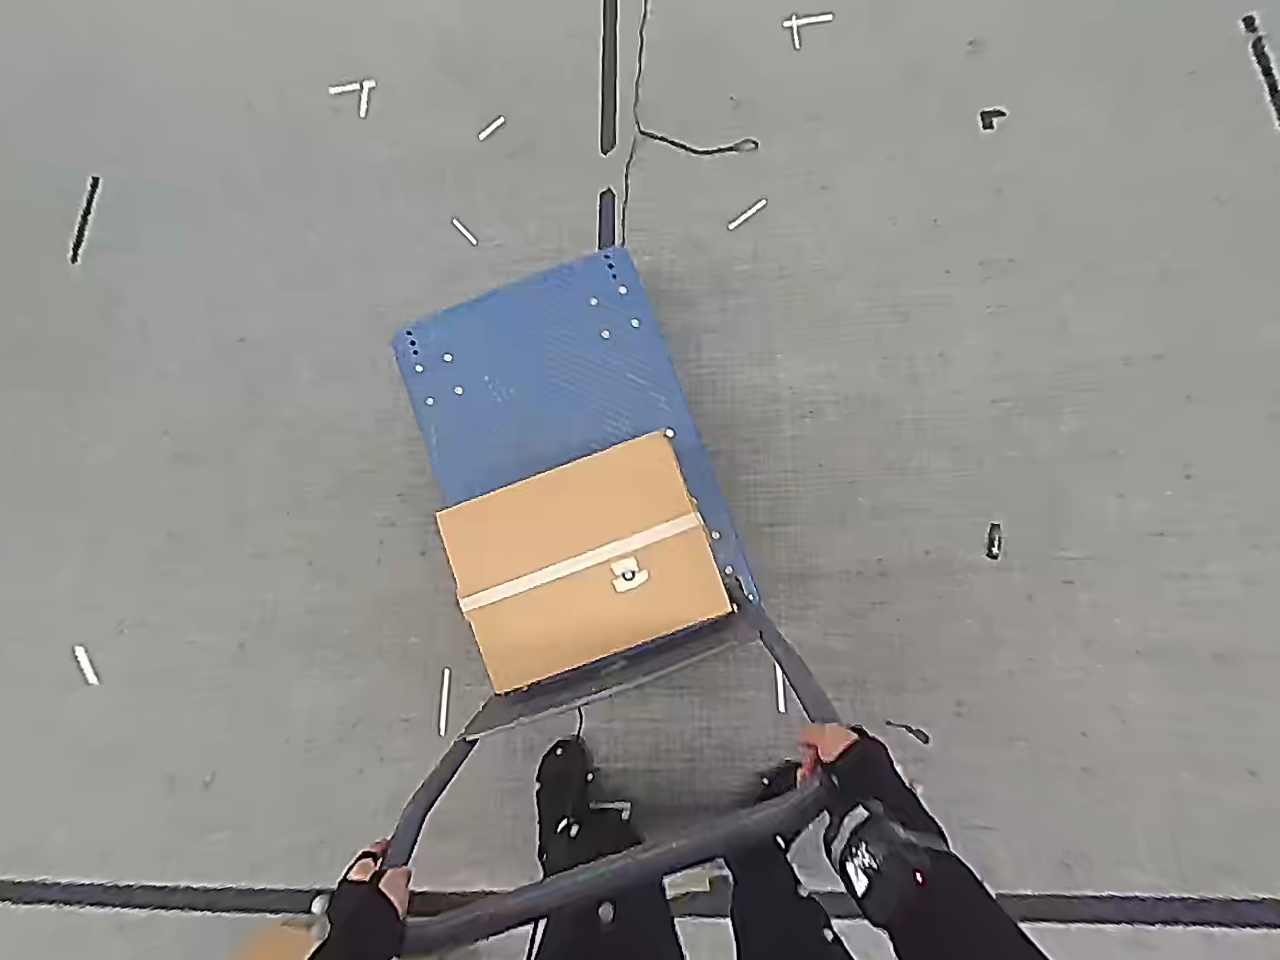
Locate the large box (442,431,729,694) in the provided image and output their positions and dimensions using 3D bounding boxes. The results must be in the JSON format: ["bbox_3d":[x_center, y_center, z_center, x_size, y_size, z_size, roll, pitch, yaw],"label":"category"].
[{"bbox_3d":[-0.089,0.144,1.030,0.408,0.320,0.320,-22,86,0],"label":"large box"}]
